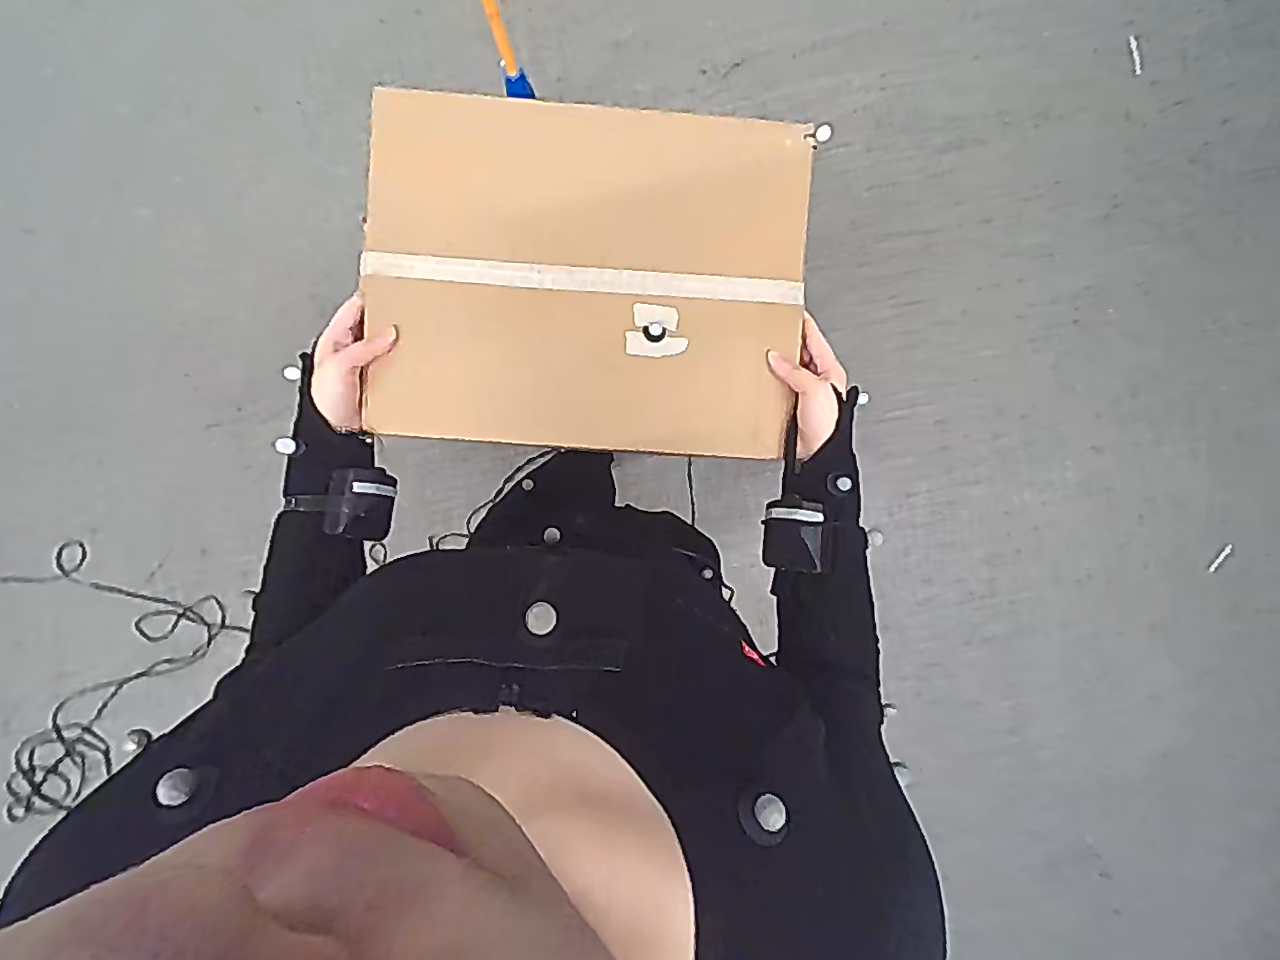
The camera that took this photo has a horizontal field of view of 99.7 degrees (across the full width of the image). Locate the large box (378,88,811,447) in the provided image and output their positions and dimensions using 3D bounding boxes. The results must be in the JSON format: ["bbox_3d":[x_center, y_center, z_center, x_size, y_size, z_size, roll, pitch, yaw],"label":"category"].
[{"bbox_3d":[-0.051,-0.205,0.659,0.408,0.320,0.320,4,94,-3],"label":"large box"}]
